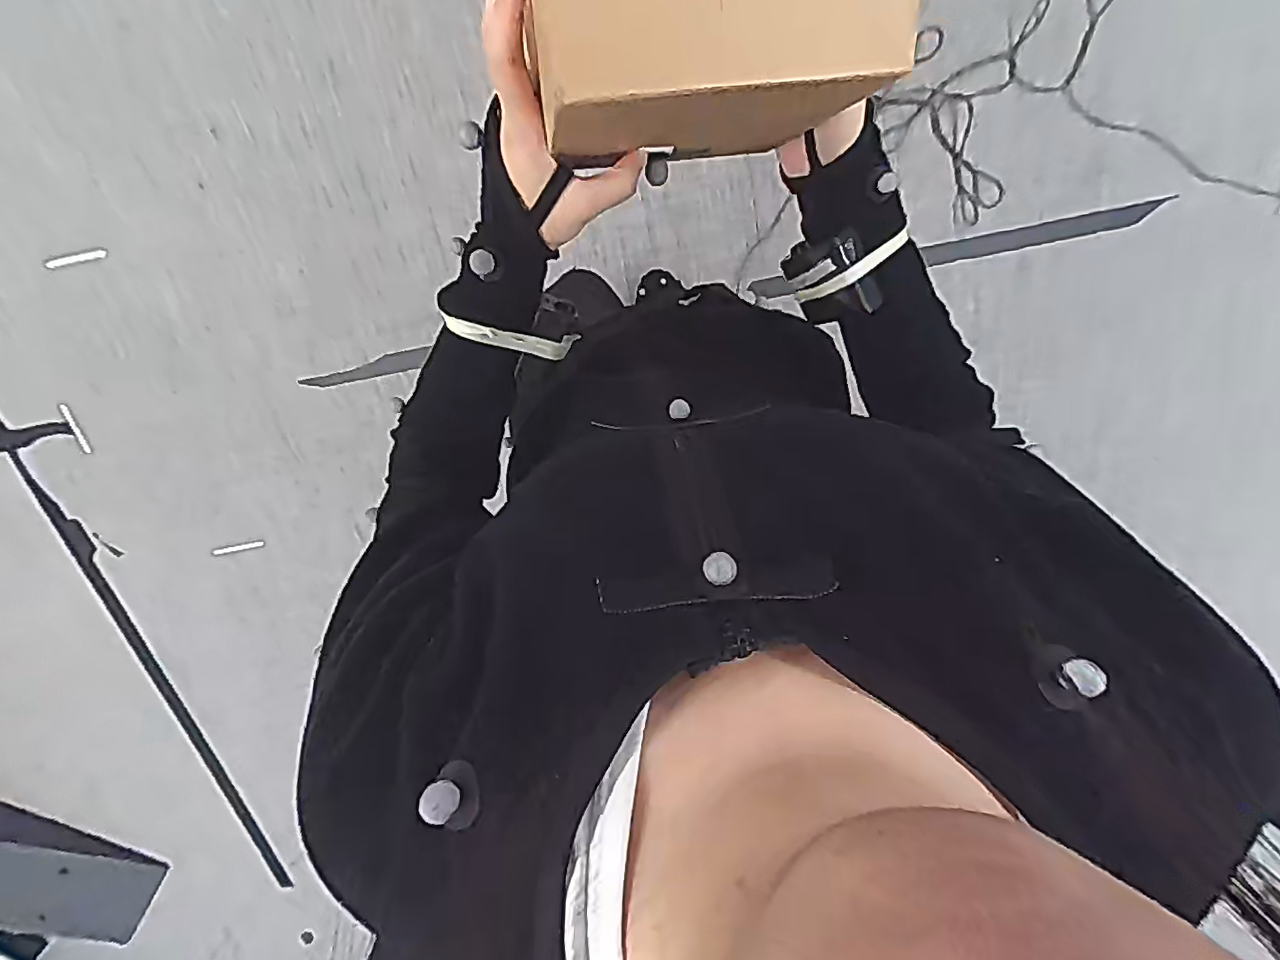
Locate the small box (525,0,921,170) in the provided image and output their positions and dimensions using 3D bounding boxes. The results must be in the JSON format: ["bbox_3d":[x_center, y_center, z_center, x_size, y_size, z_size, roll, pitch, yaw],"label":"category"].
[{"bbox_3d":[0.022,-0.281,0.280,0.168,0.176,0.179,-10,112,-6],"label":"small box"}]
